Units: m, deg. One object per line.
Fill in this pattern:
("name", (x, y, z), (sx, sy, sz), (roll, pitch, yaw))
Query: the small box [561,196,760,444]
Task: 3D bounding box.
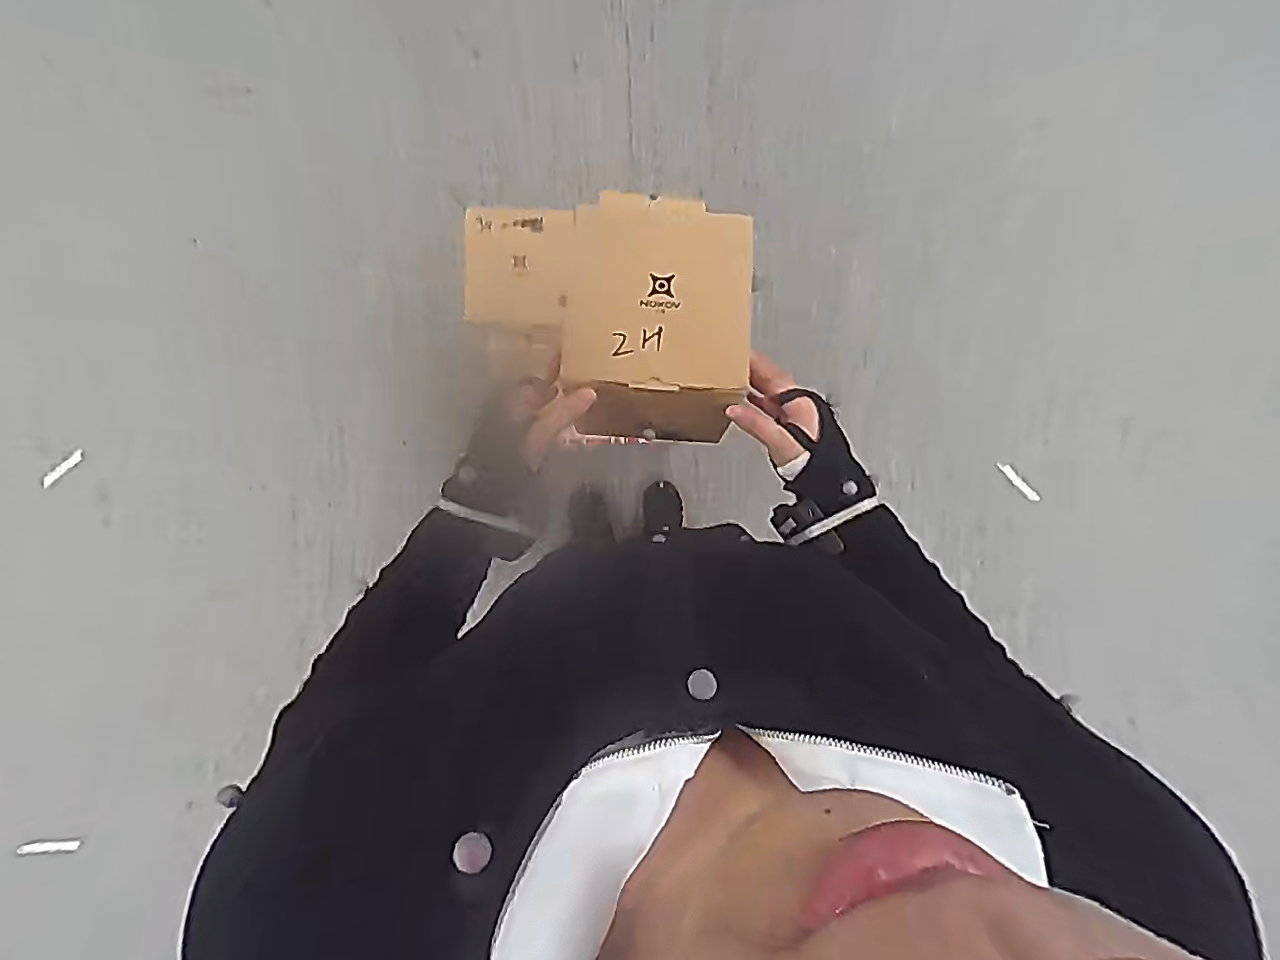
("small box", (0.018, -0.147, 0.543), (0.168, 0.176, 0.179), (4, 79, 0))
